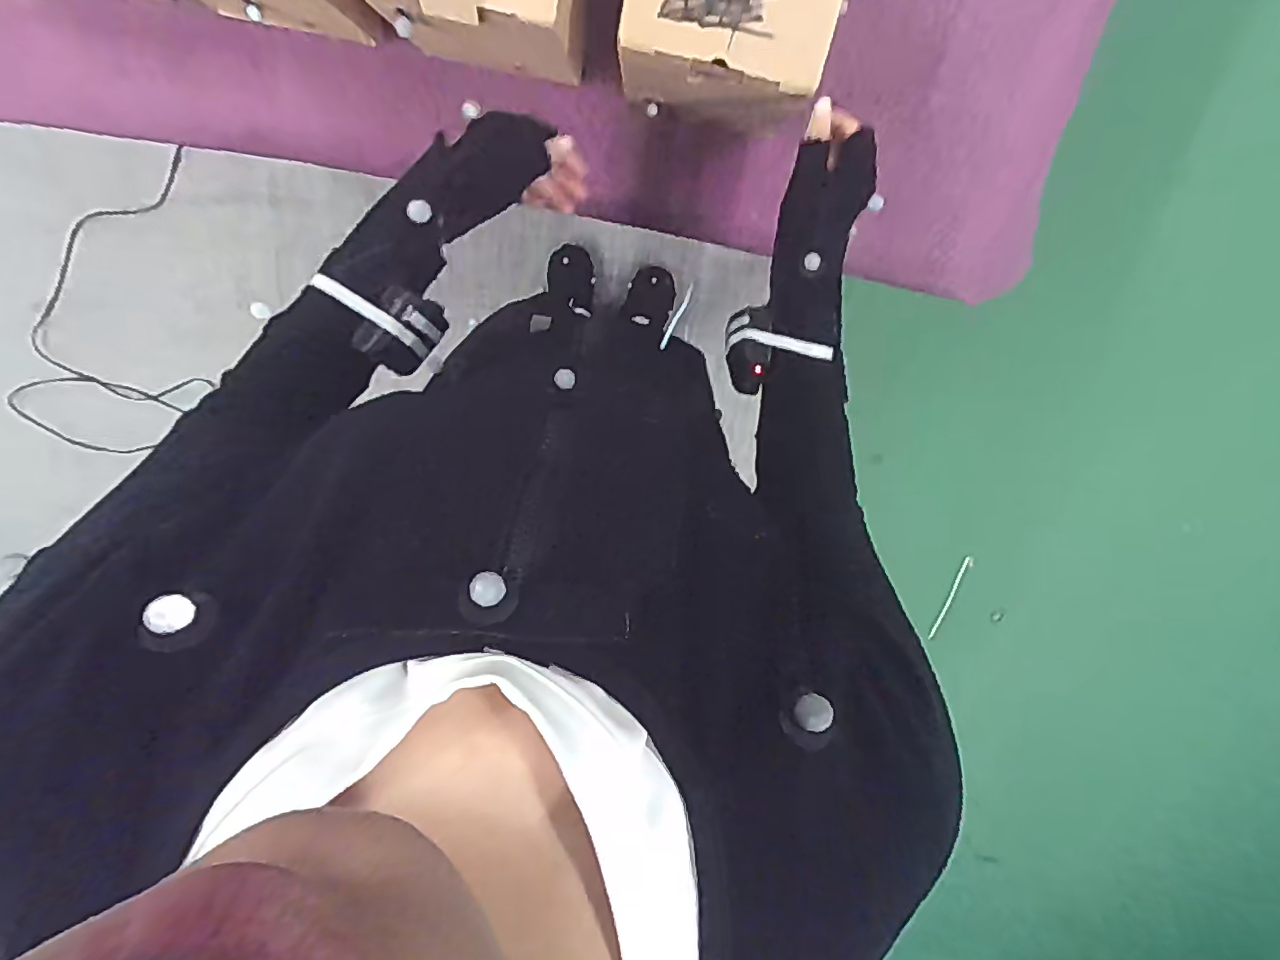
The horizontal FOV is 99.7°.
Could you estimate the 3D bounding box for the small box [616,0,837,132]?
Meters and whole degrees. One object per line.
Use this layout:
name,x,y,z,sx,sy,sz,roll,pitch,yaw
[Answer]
small box,0.080,-0.437,0.478,0.168,0.176,0.179,12,111,-5
